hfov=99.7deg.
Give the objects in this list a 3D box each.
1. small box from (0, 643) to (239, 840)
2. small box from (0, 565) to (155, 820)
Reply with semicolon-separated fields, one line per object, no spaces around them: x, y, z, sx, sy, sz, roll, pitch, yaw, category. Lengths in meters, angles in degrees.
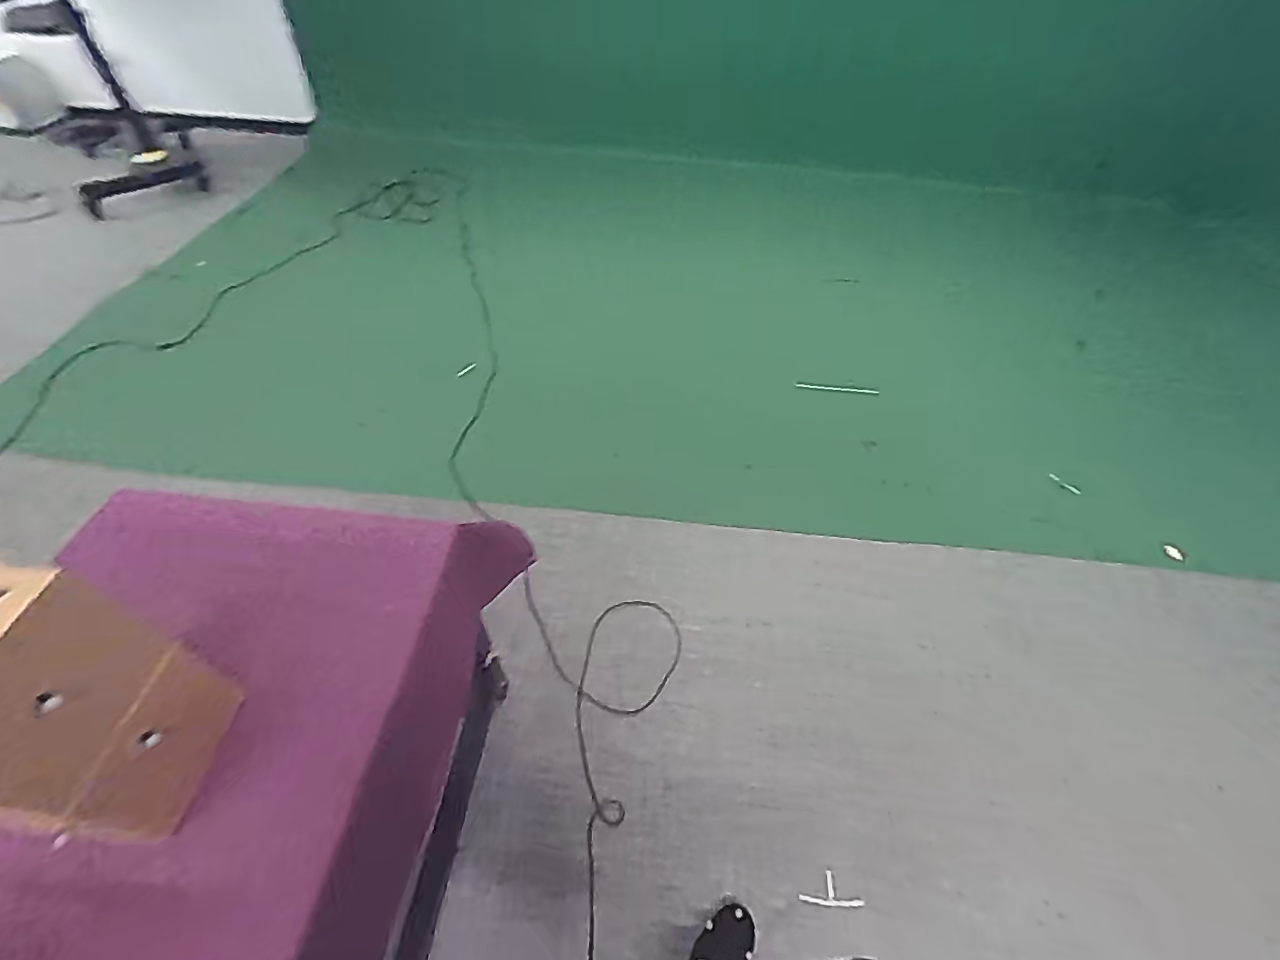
-0.618;0.298;0.624;0.168;0.176;0.179;6;49;1;small box
-0.612;0.192;0.498;0.168;0.176;0.179;5;51;1;small box
